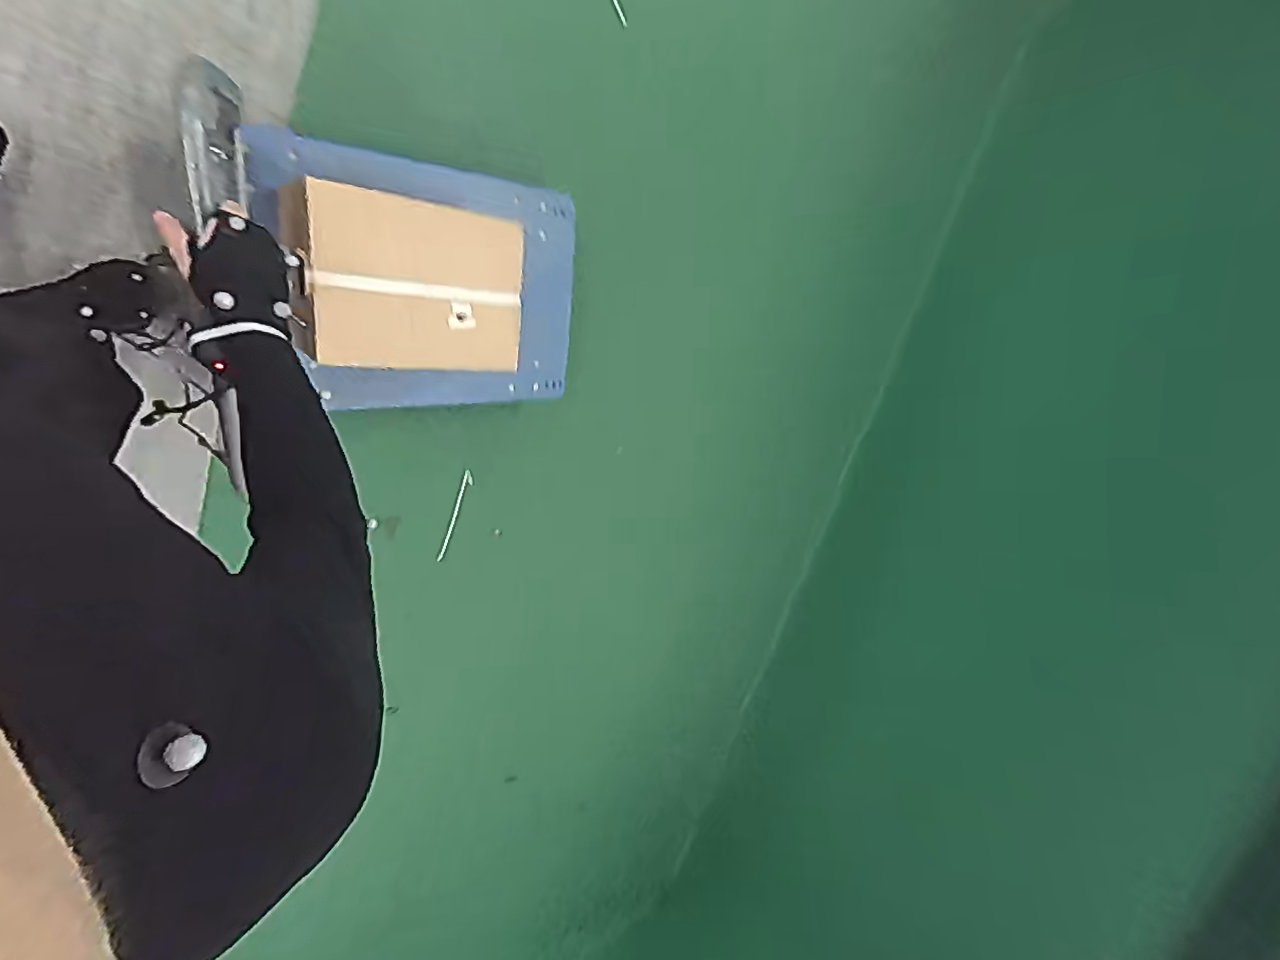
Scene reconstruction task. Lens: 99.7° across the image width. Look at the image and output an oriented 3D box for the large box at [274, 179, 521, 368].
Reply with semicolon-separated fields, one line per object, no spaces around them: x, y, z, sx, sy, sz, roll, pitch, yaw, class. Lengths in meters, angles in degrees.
-0.516;-0.424;1.165;0.408;0.320;0.320;-8;115;-40;large box
